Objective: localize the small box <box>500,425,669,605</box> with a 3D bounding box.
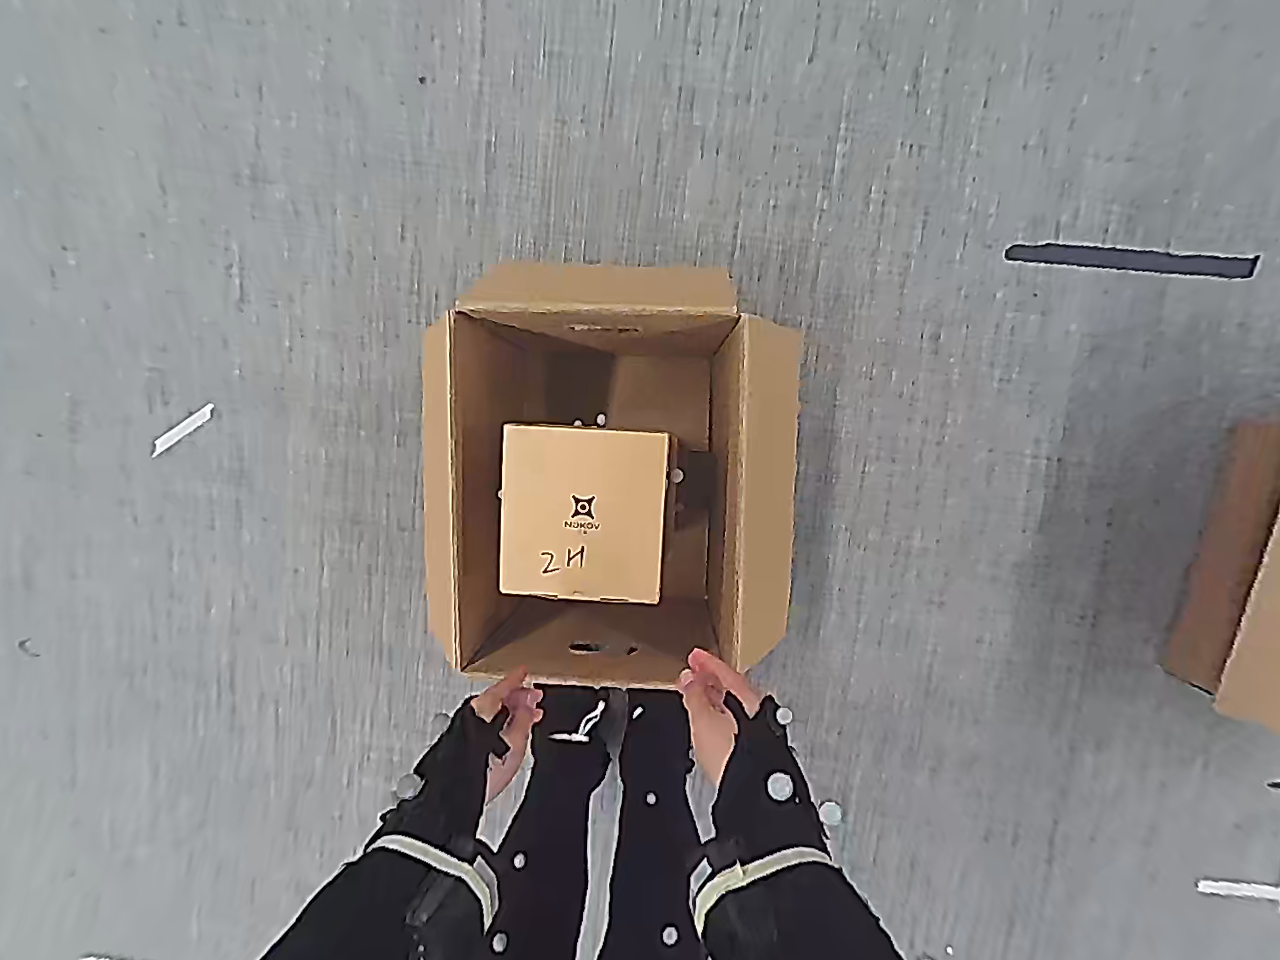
[{"bbox_3d":[-0.055,0.030,0.624,0.168,0.176,0.179,3,96,3],"label":"small box"}]
